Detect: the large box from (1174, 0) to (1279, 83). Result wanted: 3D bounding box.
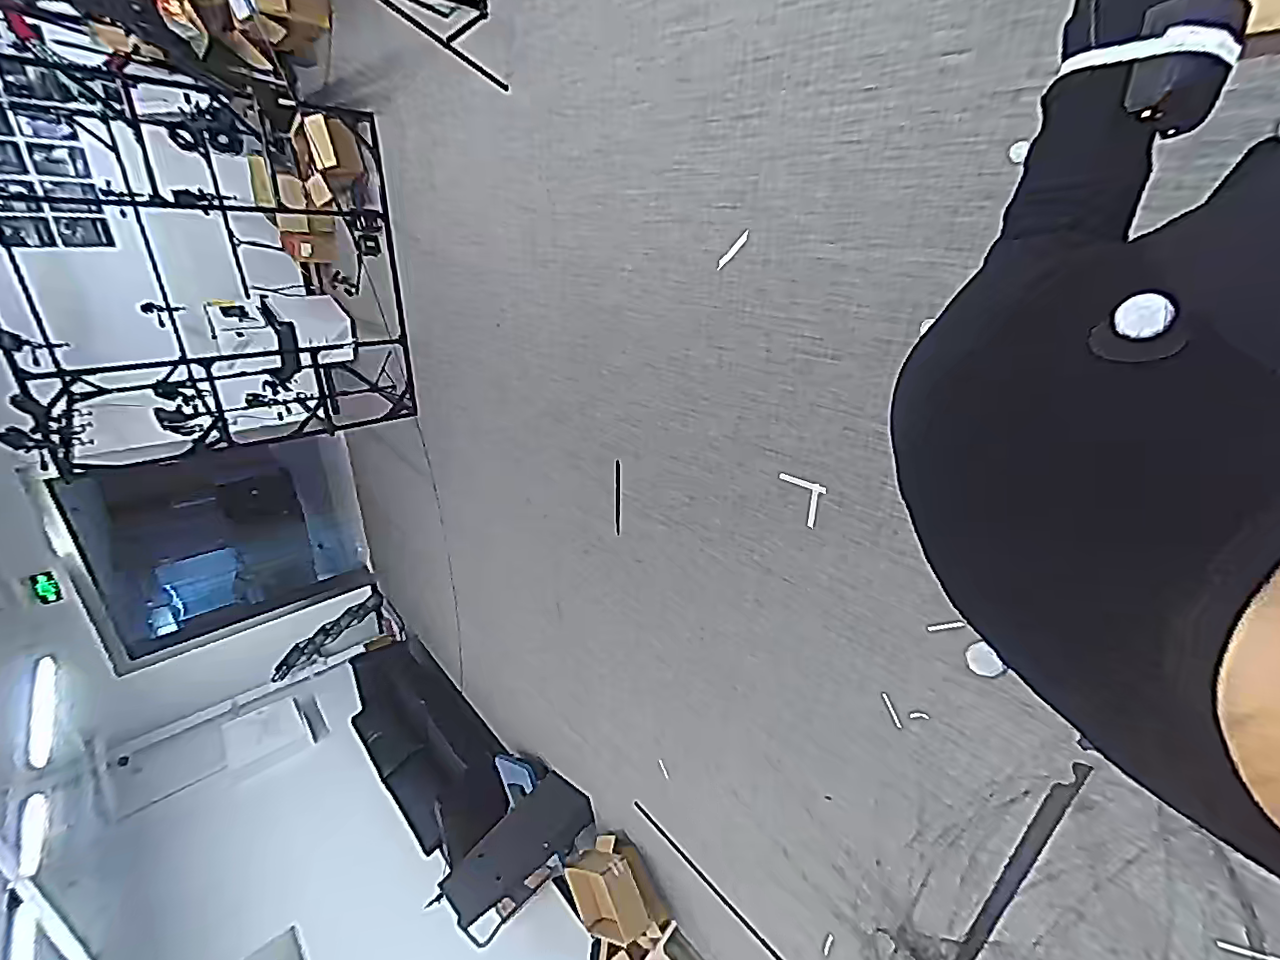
[{"bbox_3d":[0.594,-0.427,0.264,0.408,0.320,0.320,21,130,41],"label":"large box"}]
